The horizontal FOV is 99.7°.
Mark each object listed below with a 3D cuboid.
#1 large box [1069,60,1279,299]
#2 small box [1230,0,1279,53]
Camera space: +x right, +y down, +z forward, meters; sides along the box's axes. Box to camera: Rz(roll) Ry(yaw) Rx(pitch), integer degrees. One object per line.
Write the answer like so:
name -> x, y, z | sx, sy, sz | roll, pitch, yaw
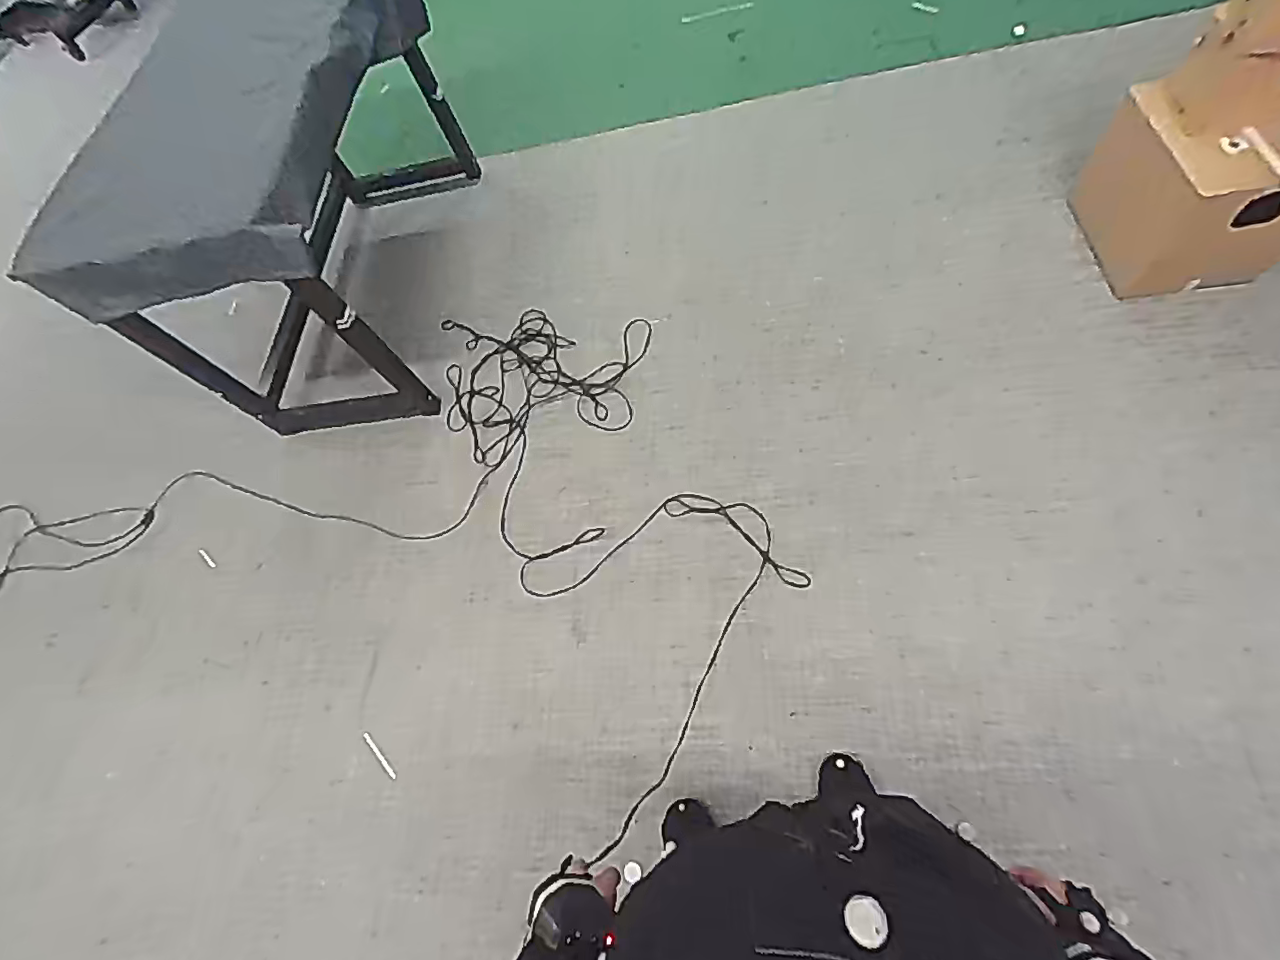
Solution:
large box -> 1.371, -0.724, 1.335 | 0.320, 0.320, 0.408 | -7, 66, 11
small box -> 1.271, -0.933, 0.997 | 0.179, 0.176, 0.168 | 7, 68, 16
